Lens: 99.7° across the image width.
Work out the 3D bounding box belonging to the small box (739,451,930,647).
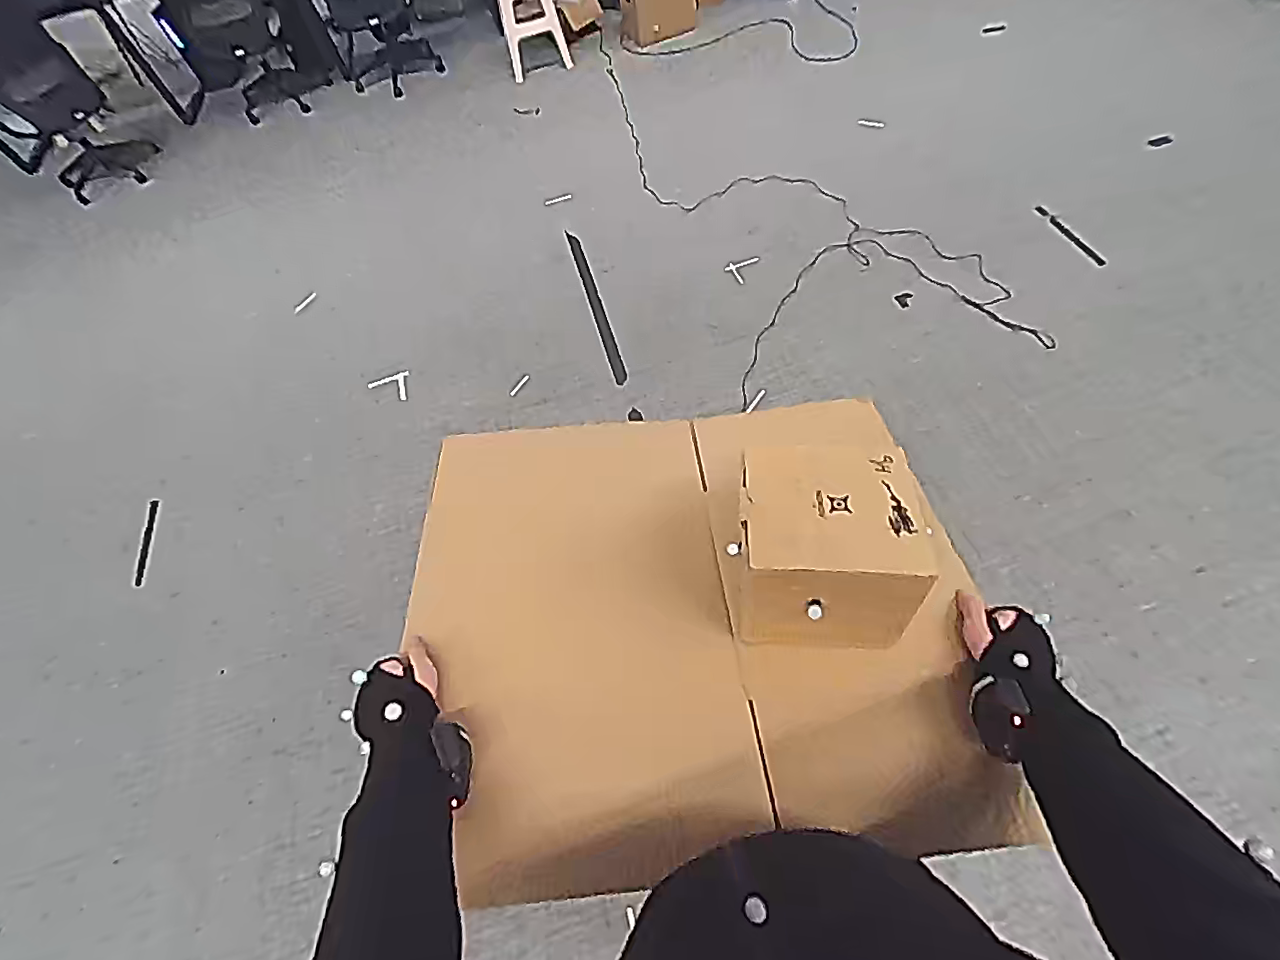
[{"bbox_3d":[0.206,0.083,0.630,0.179,0.176,0.168,0,50,9],"label":"small box"}]
